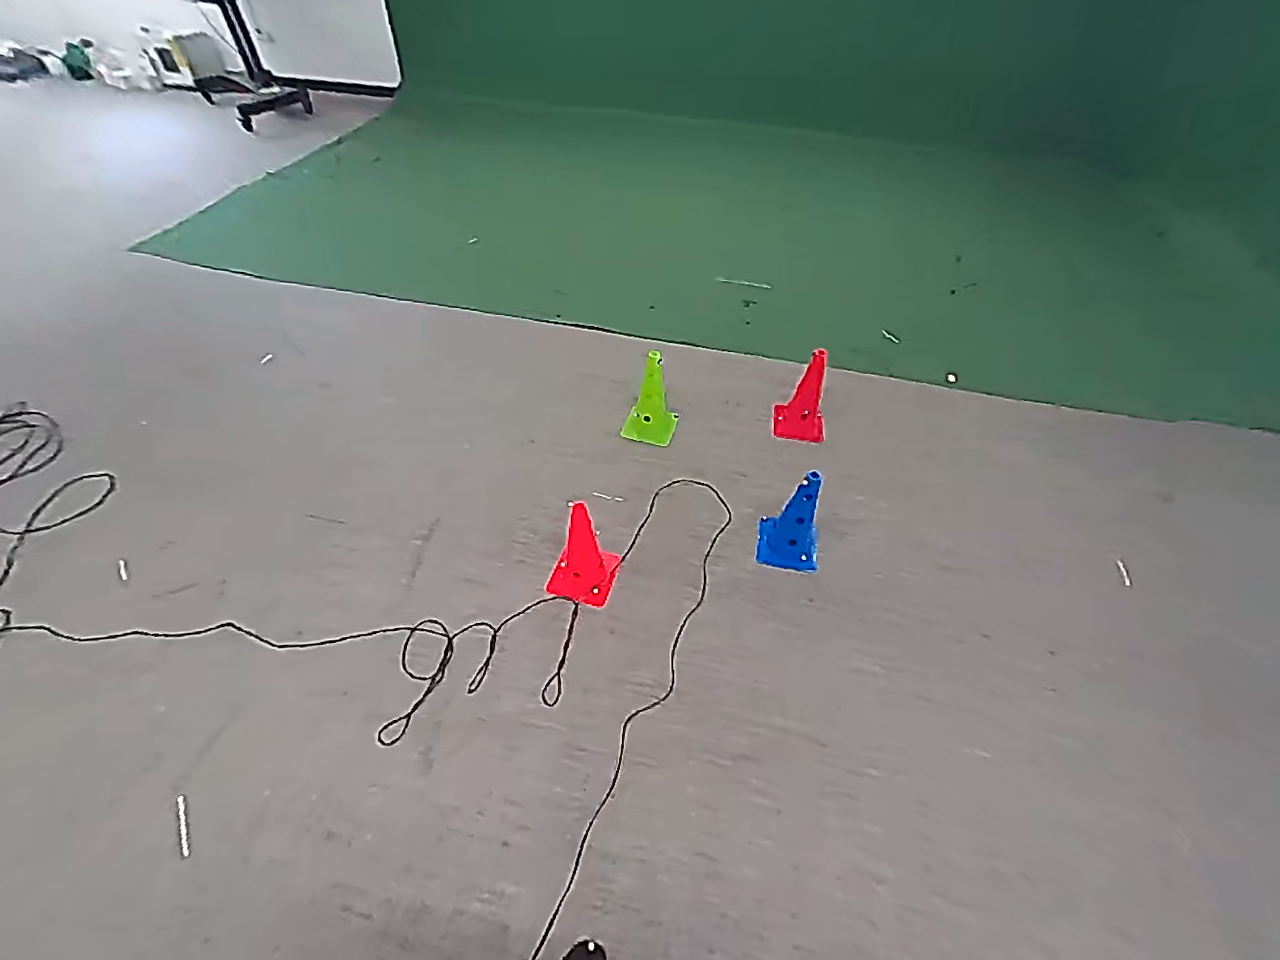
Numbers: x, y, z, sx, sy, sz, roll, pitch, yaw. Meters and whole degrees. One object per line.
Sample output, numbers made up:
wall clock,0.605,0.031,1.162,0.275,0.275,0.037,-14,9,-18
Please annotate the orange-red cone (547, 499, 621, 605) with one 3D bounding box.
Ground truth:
orange-red cone,-0.171,0.182,1.607,0.198,0.360,0.199,15,49,10

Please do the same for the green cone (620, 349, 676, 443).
green cone,0.038,-0.346,2.068,0.200,0.368,0.202,12,51,9
